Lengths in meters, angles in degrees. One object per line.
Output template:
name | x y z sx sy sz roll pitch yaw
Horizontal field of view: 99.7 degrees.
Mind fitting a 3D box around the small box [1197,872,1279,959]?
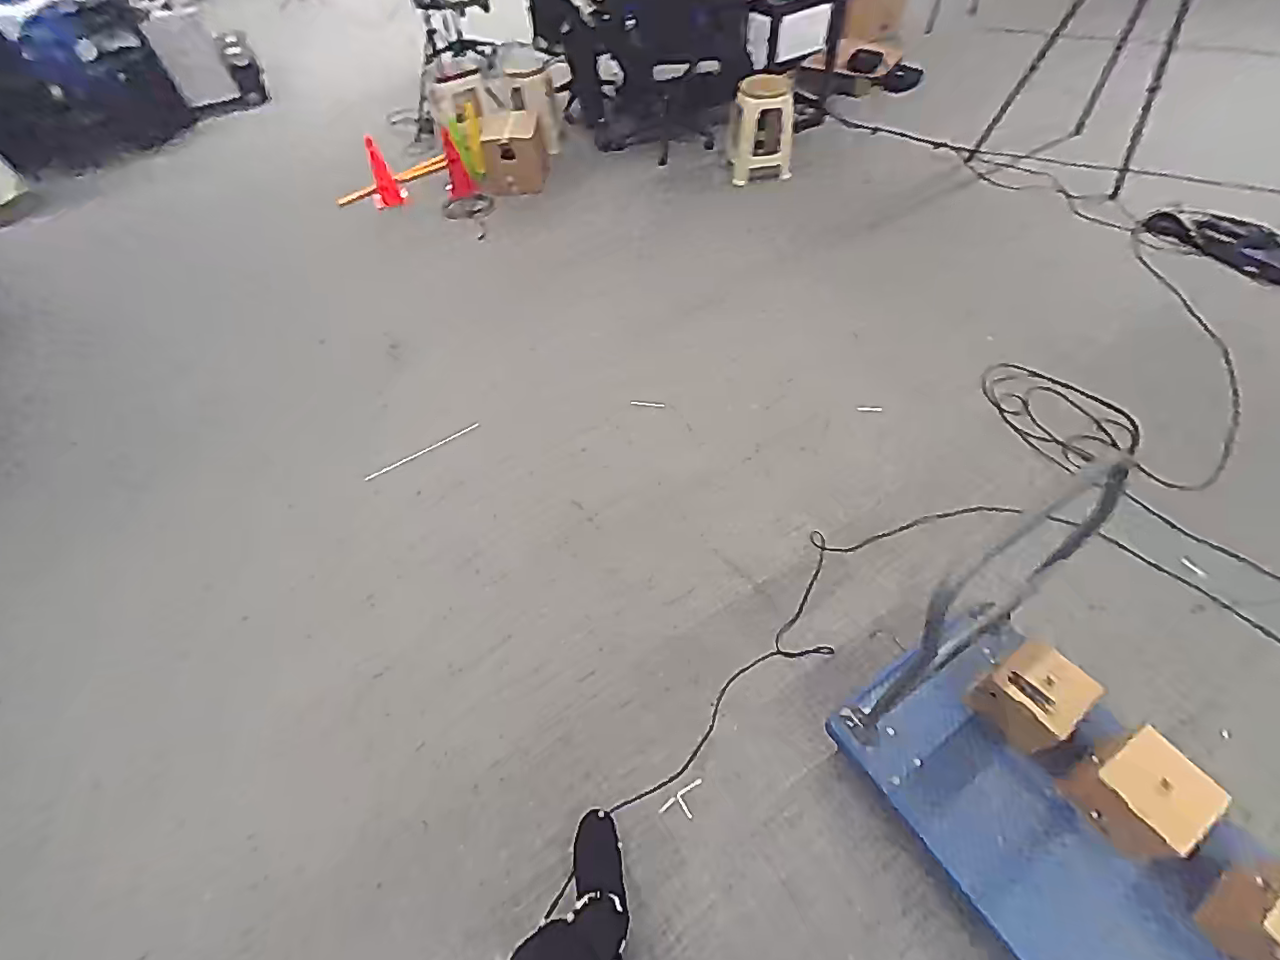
small box | 1.194 0.845 0.982 0.179 0.176 0.168 -29 56 -17

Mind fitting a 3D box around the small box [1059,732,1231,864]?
small box | 1.039 0.666 1.132 0.179 0.176 0.168 -29 57 -16
